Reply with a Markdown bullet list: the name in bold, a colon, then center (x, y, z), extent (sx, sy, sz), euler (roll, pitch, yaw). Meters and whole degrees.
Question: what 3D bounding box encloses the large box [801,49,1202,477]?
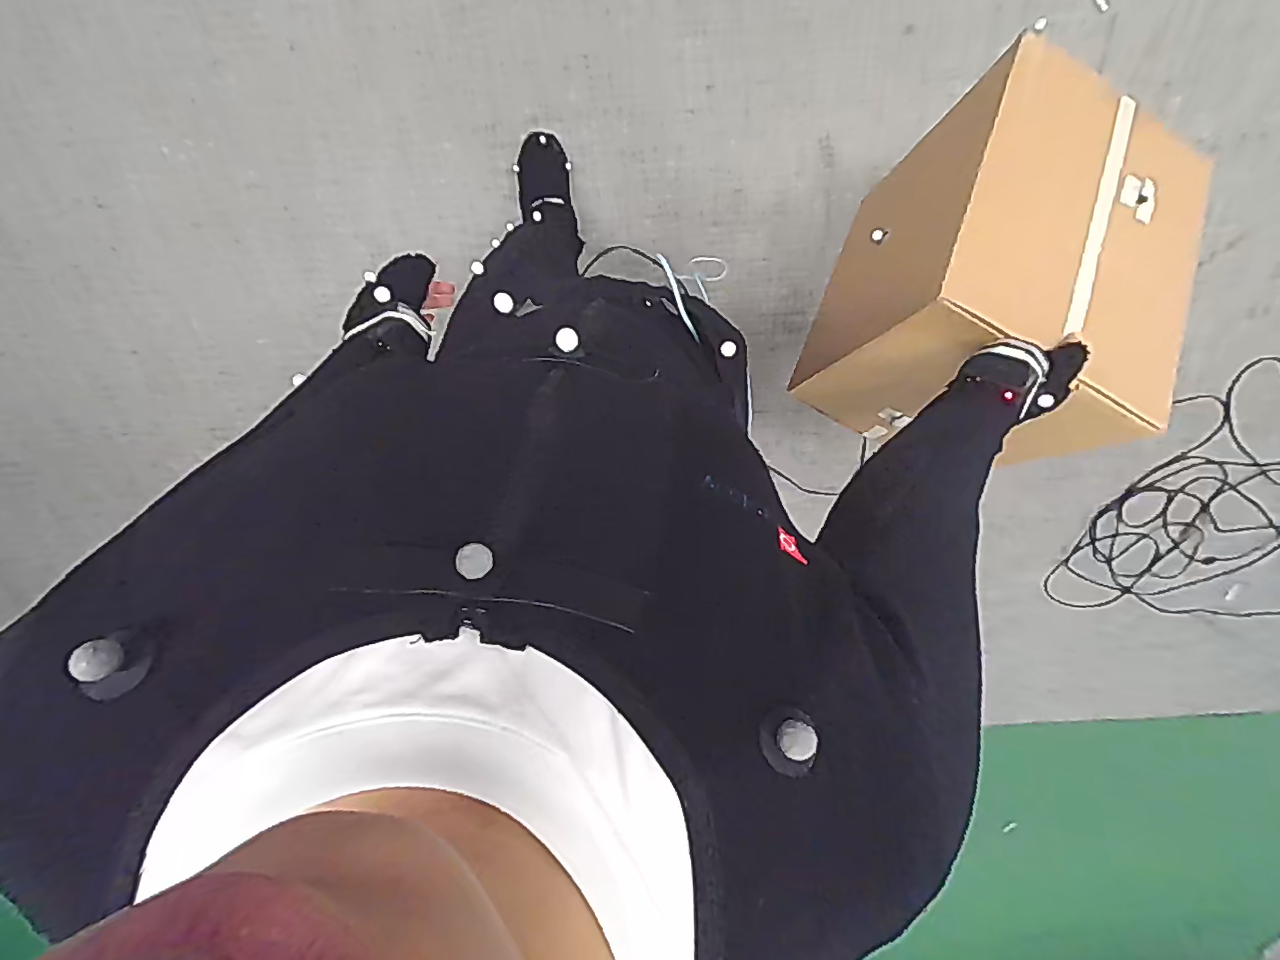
- **large box**: center (0.487, -0.263, 0.774), extent (0.320, 0.320, 0.408), euler (26, 75, -9)
